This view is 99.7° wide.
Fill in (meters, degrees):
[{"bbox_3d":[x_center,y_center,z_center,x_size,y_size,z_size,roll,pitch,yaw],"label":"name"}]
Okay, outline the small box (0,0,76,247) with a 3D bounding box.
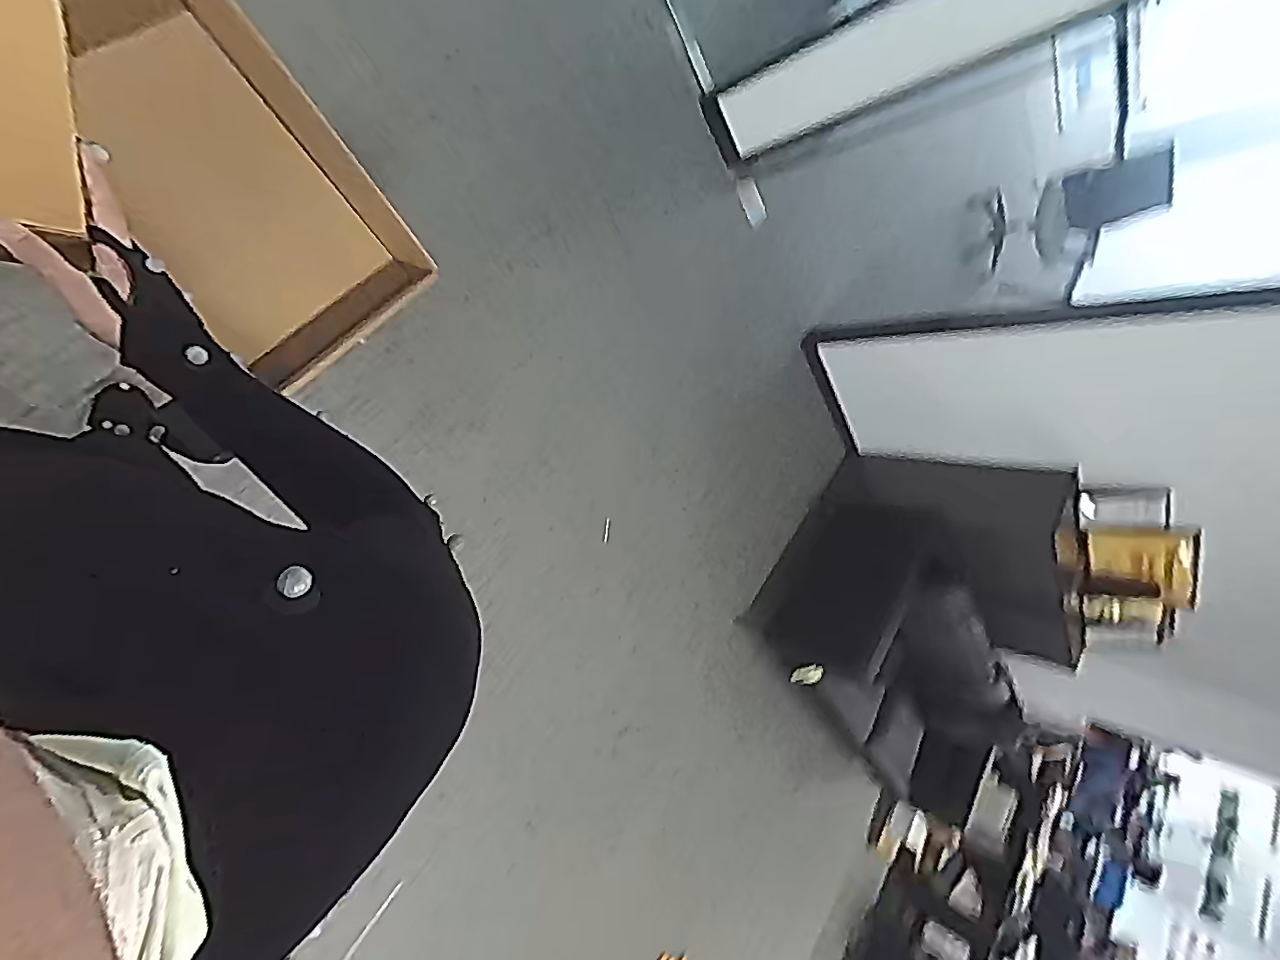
[{"bbox_3d":[-0.561,-0.295,0.411,0.168,0.176,0.179,-9,105,-44],"label":"small box"}]
